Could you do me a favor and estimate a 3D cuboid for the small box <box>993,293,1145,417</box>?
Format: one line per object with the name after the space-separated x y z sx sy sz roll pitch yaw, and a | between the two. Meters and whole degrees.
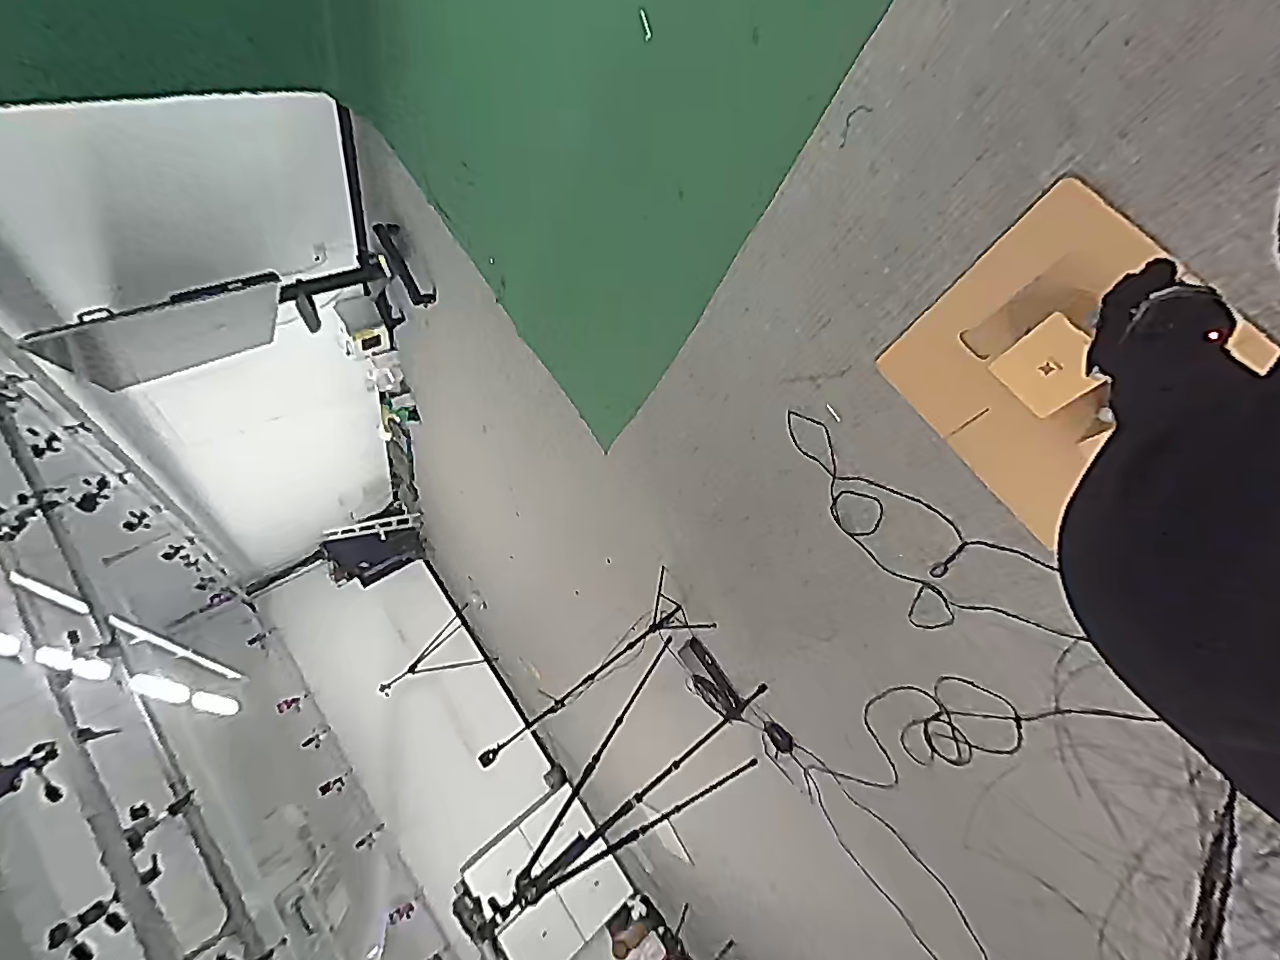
0.926 -0.272 1.170 0.168 0.176 0.179 52 147 15 | small box
